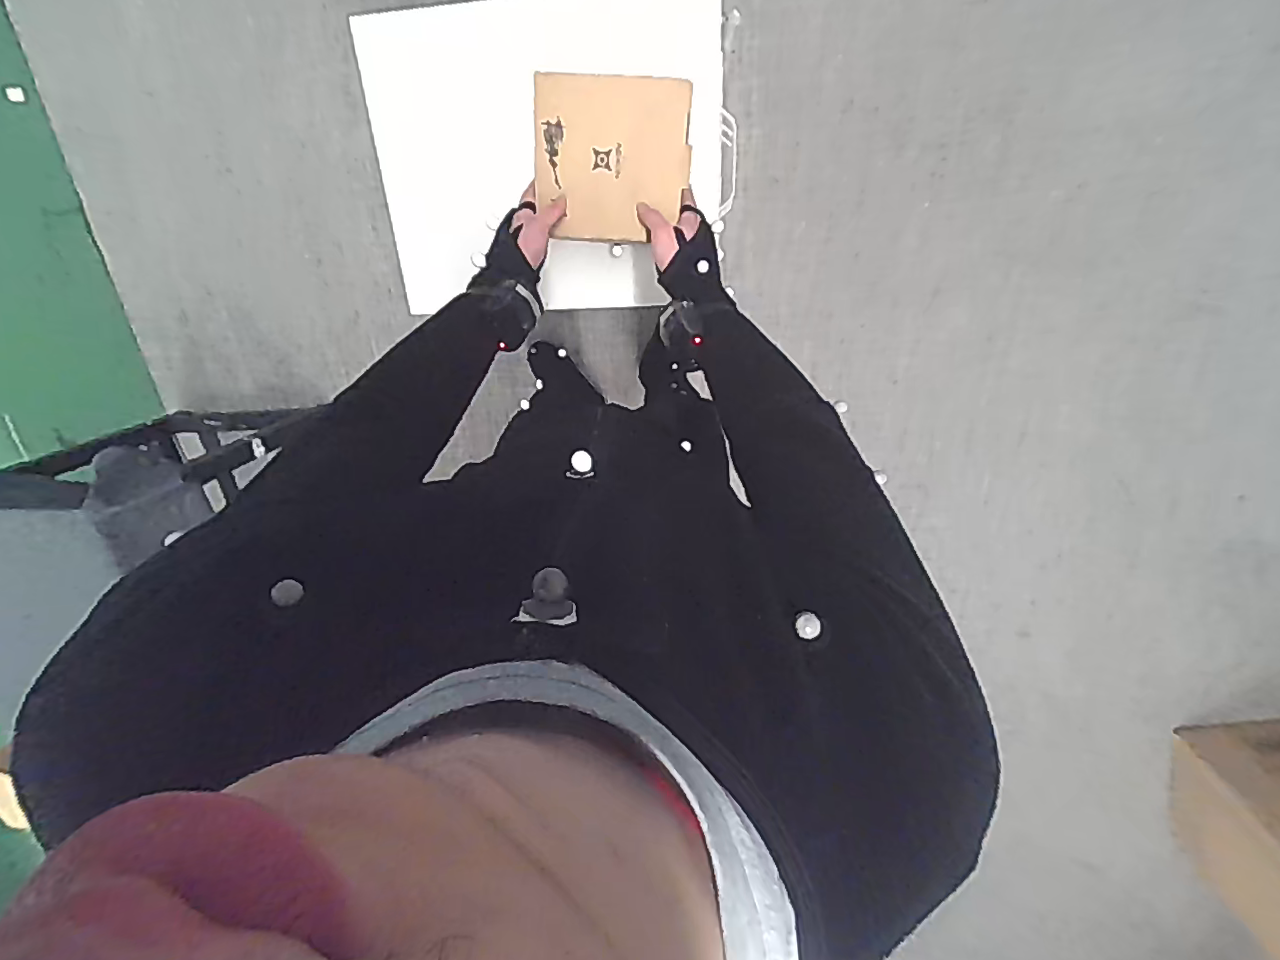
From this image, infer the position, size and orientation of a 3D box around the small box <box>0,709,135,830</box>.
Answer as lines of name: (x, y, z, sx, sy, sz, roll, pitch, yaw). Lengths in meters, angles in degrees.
small box: (-1.303, 0.636, 1.203, 0.168, 0.176, 0.179, 0, 116, 9)

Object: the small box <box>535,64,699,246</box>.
small box: (-0.029, -0.389, 0.675, 0.179, 0.176, 0.168, 5, 113, -1)
